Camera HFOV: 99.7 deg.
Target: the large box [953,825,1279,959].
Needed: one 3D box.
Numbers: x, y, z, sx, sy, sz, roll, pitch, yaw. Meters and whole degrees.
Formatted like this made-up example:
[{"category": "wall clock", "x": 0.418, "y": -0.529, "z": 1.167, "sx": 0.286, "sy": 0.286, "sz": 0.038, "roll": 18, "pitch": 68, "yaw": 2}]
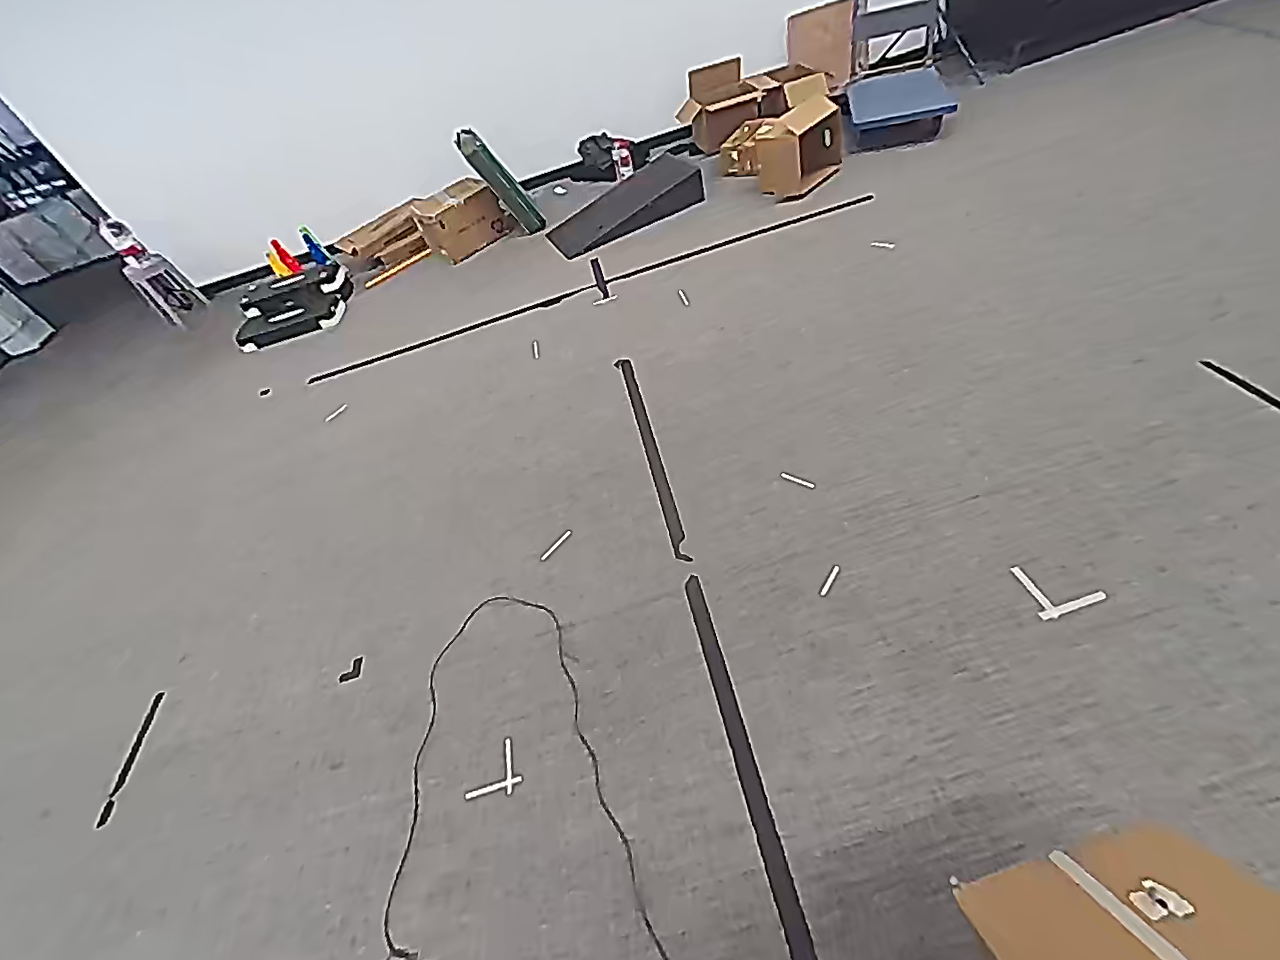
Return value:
[{"category": "large box", "x": 0.635, "y": 0.666, "z": 0.567, "sx": 0.320, "sy": 0.408, "sz": 0.320, "roll": -22, "pitch": 81, "yaw": 3}]
